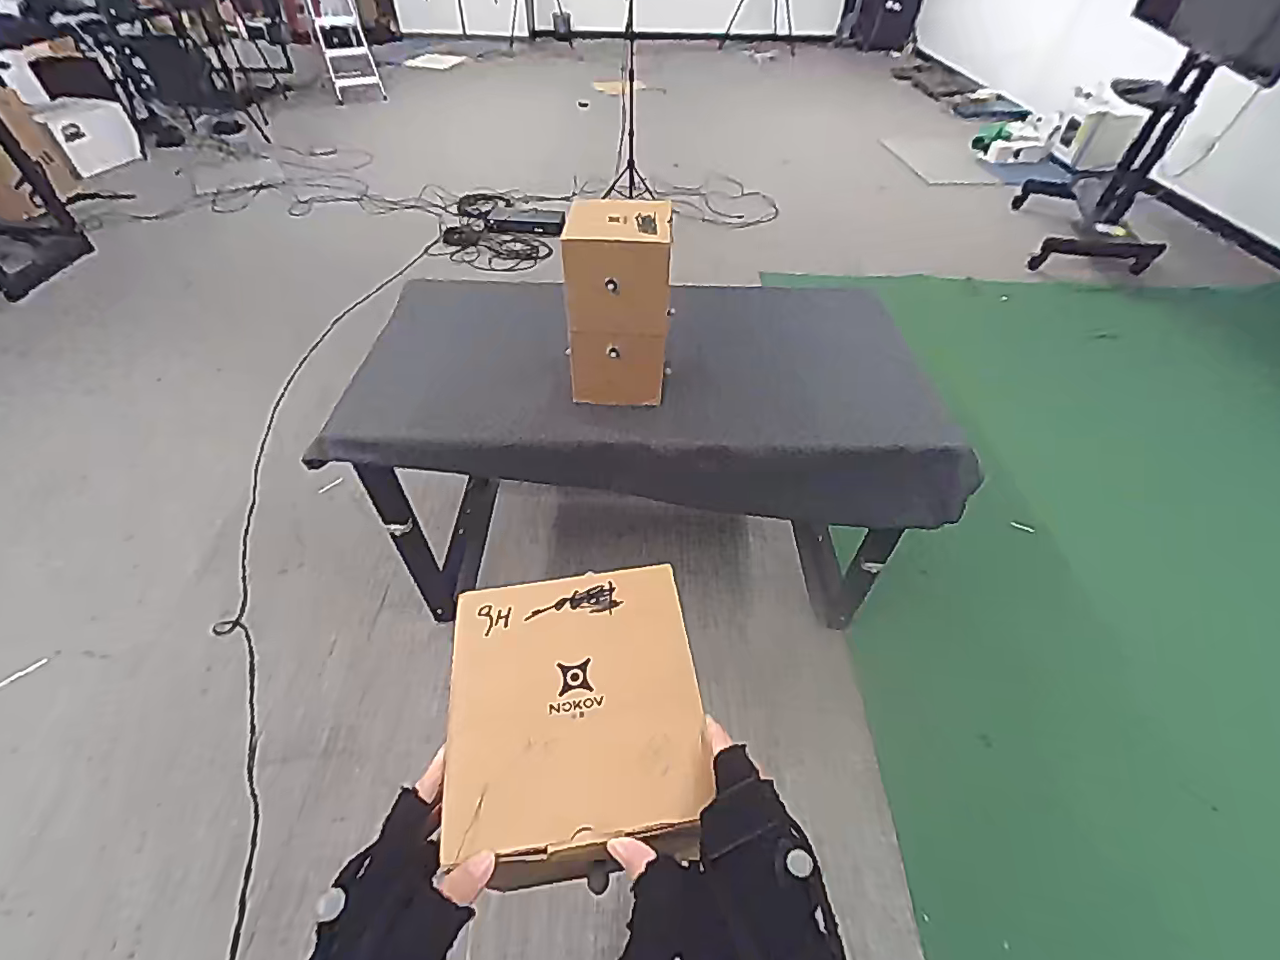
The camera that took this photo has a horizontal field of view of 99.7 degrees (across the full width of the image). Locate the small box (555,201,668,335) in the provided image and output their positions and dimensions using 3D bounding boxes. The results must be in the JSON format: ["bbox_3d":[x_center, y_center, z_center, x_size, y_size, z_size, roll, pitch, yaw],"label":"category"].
[{"bbox_3d":[-0.042,-0.369,0.950,0.179,0.176,0.168,1,47,3],"label":"small box"}]

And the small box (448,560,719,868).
[{"bbox_3d":[-0.039,0.190,0.428,0.168,0.176,0.179,-8,51,-4],"label":"small box"}]

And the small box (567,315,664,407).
[{"bbox_3d":[-0.042,-0.260,1.074,0.179,0.176,0.168,2,48,1],"label":"small box"}]
